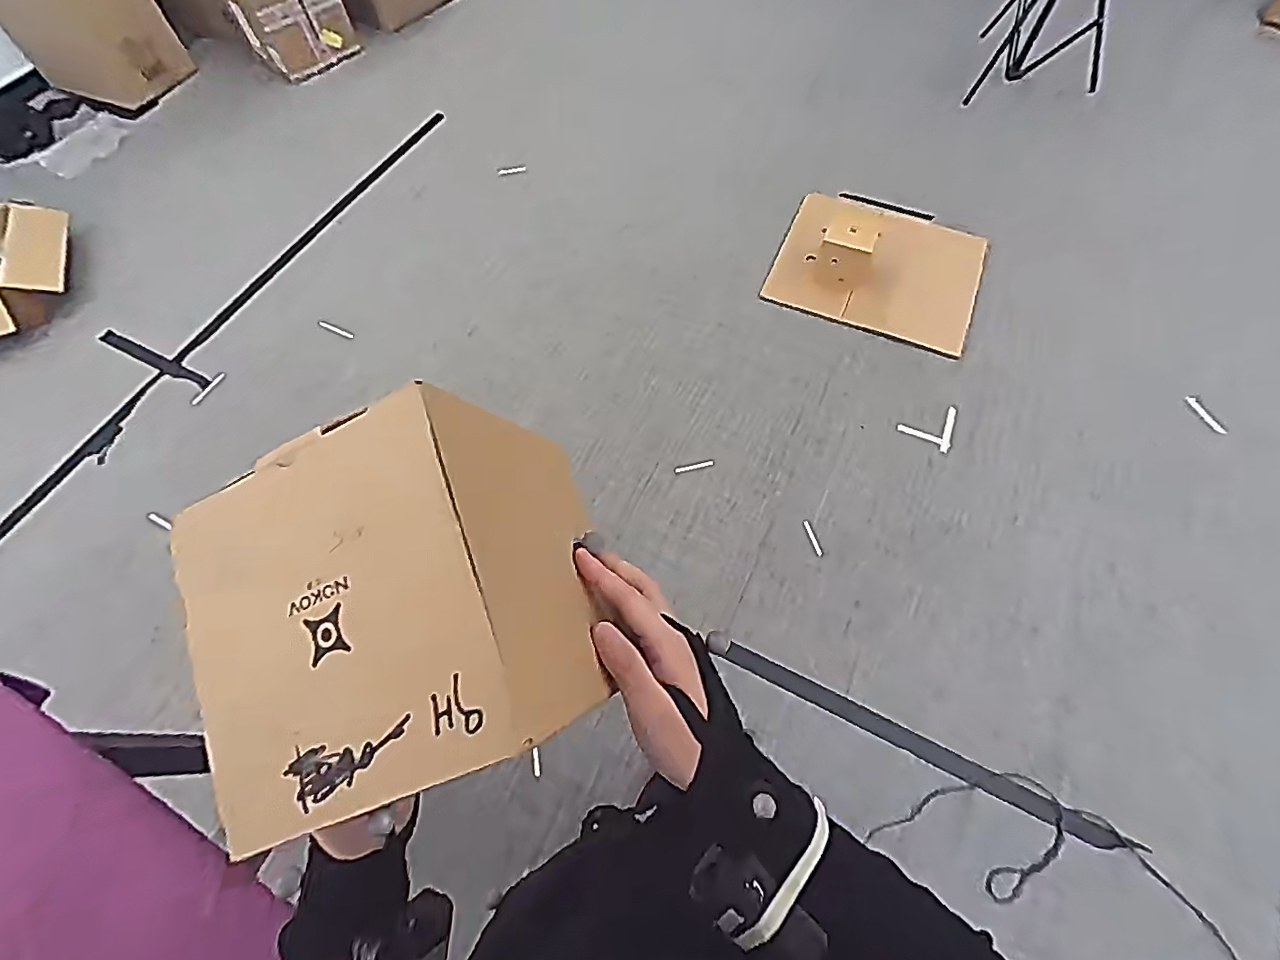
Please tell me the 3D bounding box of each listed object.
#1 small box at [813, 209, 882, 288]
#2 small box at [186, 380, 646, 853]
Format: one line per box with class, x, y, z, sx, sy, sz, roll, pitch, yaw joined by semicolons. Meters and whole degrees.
small box;0.718;-0.804;1.890;0.168;0.176;0.179;20;66;11
small box;-0.117;0.073;0.326;0.168;0.176;0.179;-26;74;13
